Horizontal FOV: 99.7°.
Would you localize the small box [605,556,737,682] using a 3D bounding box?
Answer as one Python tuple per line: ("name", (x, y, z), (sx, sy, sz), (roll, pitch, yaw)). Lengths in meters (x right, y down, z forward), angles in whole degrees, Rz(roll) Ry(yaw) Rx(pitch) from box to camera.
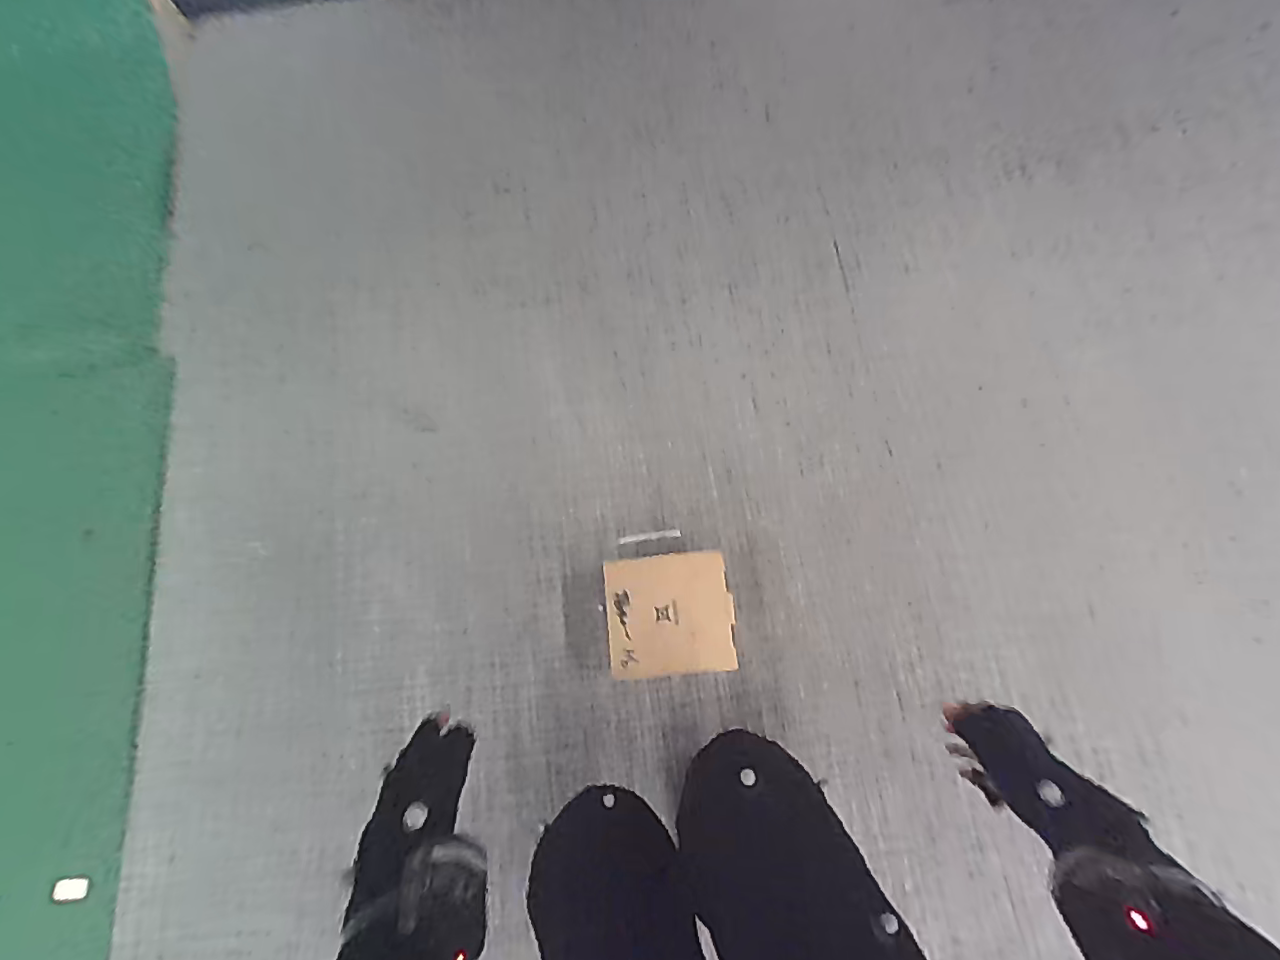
("small box", (0.042, 0.215, 0.842), (0.179, 0.176, 0.168), (-5, 74, 0))
